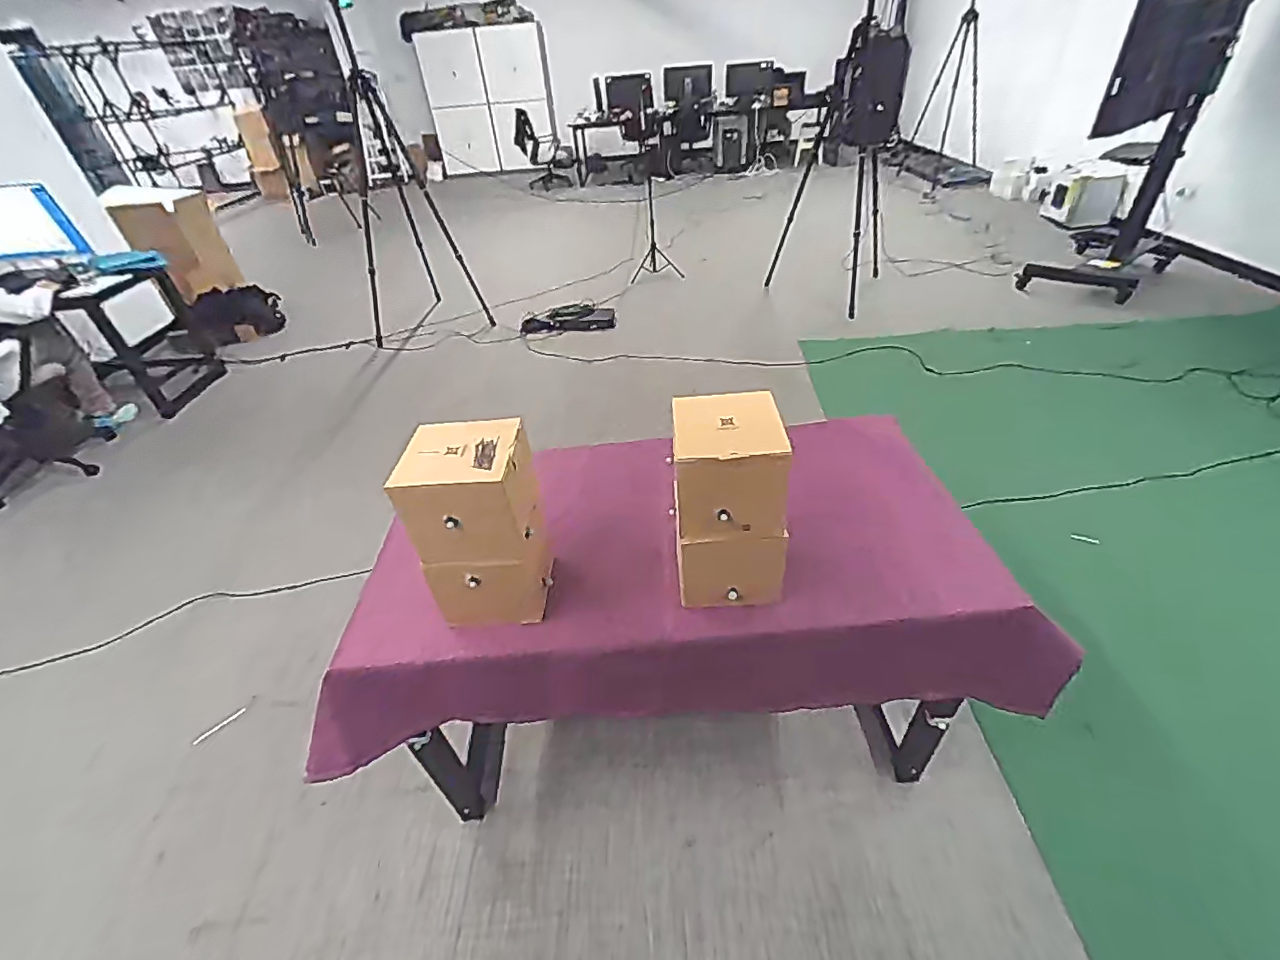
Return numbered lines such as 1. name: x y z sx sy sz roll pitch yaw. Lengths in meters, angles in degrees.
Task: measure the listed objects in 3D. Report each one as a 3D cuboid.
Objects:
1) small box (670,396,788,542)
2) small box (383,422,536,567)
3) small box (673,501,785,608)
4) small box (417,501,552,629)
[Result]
1. small box: 0.135 -0.019 0.886 0.168 0.176 0.179 -4 40 3
2. small box: -0.277 0.025 0.881 0.179 0.176 0.168 -4 39 3
3. small box: 0.150 0.115 0.979 0.179 0.176 0.168 -4 38 2
4. small box: -0.270 0.155 0.982 0.179 0.176 0.168 -3 39 2
